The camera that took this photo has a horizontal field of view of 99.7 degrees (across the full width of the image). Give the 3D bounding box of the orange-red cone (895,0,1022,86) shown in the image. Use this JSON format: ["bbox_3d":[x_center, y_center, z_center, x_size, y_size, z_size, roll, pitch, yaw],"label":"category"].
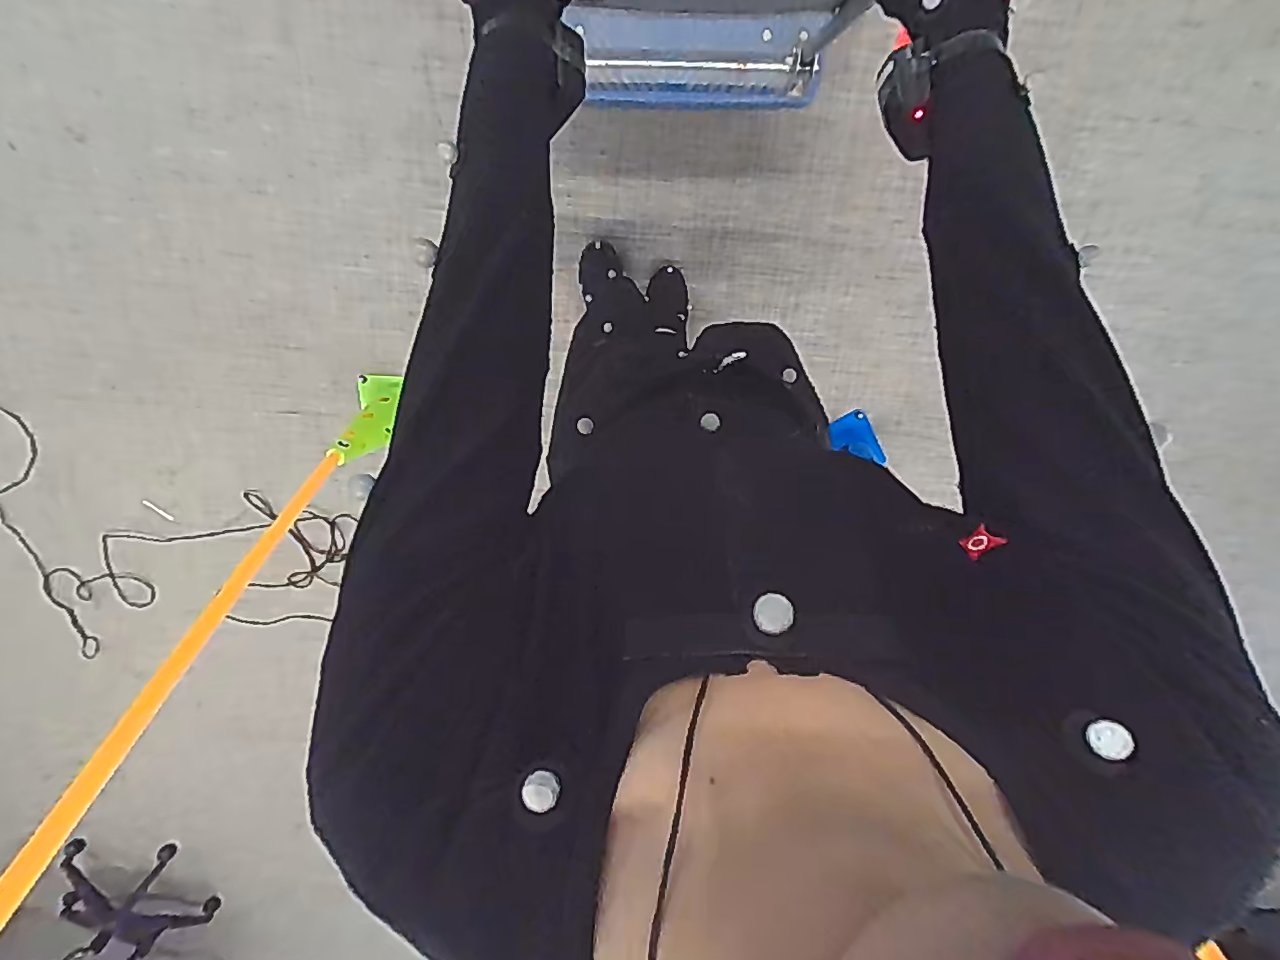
[{"bbox_3d":[0.664,-0.904,0.989,0.198,0.360,0.199,14,113,-6],"label":"orange-red cone"}]
